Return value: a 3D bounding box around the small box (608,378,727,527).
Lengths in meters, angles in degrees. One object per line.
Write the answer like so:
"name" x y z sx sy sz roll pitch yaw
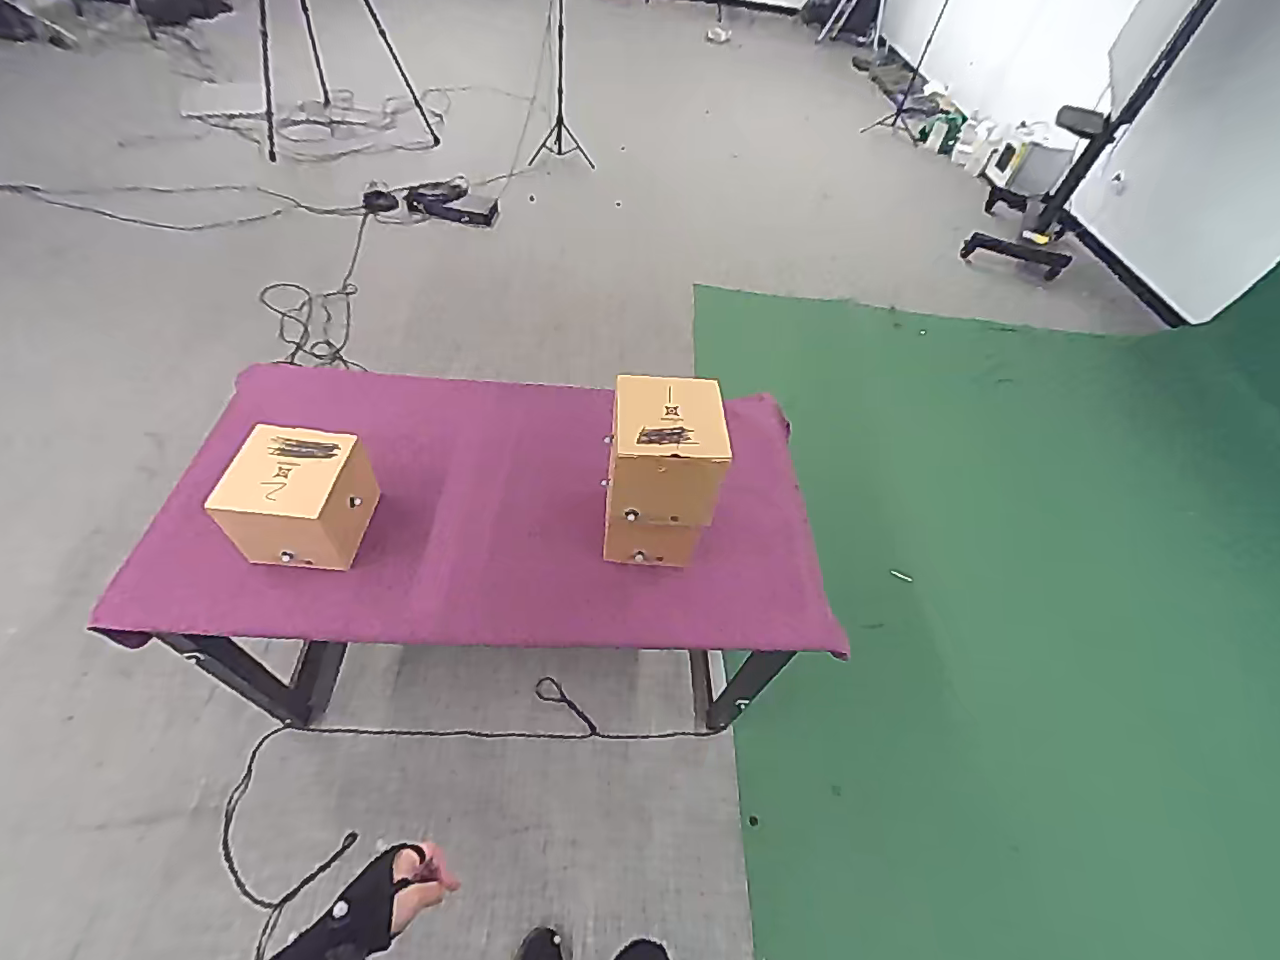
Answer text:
"small box" 0.036 -0.040 0.870 0.168 0.176 0.179 3 49 -5

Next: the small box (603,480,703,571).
"small box" 0.020 0.048 1.008 0.168 0.176 0.179 5 51 -4
